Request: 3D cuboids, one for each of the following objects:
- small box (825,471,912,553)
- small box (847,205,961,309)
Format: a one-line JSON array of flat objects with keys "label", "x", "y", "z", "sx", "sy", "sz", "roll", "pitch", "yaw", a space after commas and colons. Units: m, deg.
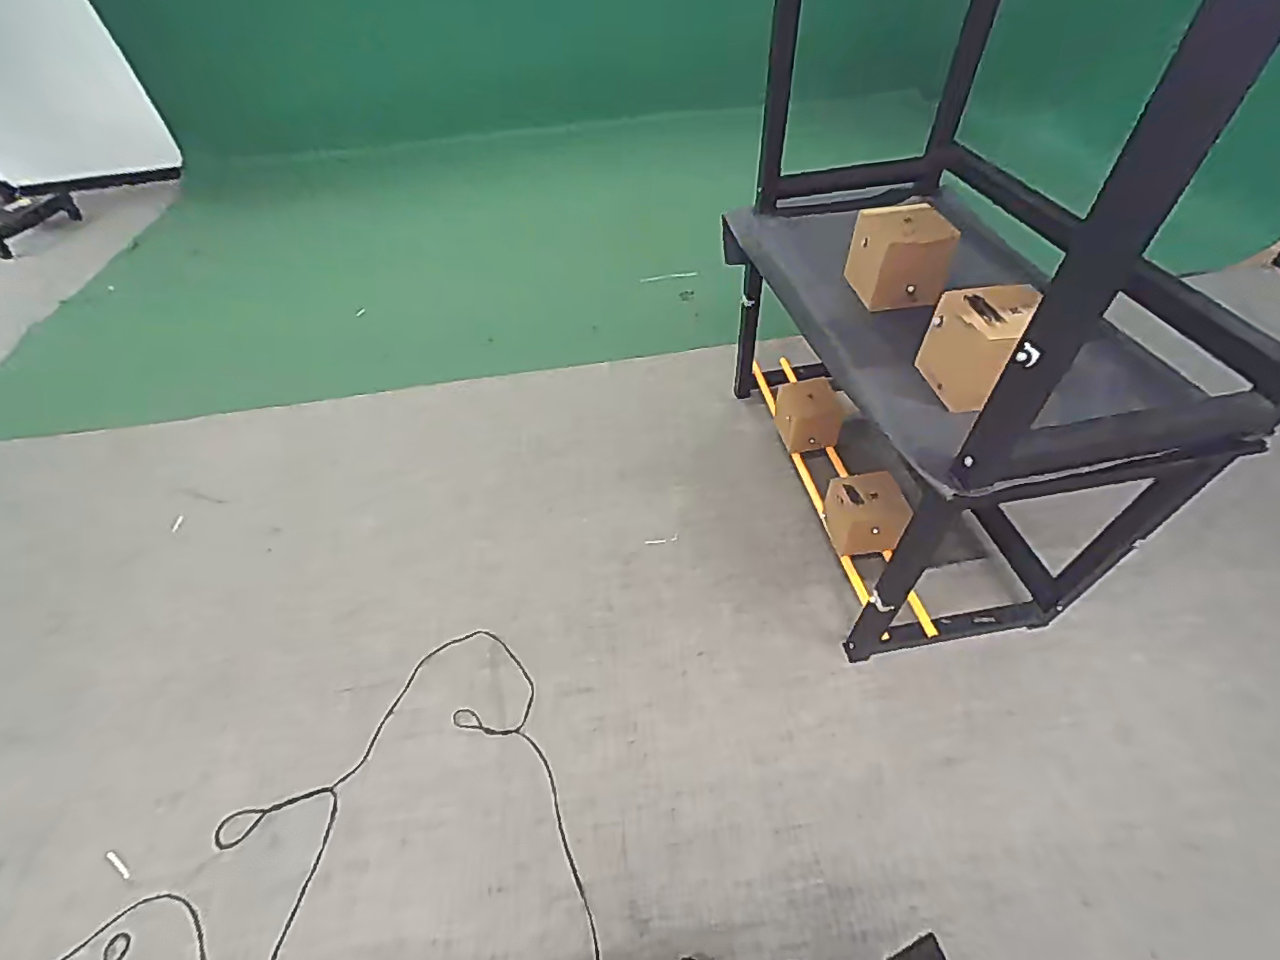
[{"label": "small box", "x": 0.650, "y": 0.096, "z": 1.569, "sx": 0.179, "sy": 0.176, "sz": 0.168, "roll": -7, "pitch": 49, "yaw": -1}, {"label": "small box", "x": 0.616, "y": -0.531, "z": 1.290, "sx": 0.168, "sy": 0.176, "sz": 0.179, "roll": -7, "pitch": 49, "yaw": -1}]
